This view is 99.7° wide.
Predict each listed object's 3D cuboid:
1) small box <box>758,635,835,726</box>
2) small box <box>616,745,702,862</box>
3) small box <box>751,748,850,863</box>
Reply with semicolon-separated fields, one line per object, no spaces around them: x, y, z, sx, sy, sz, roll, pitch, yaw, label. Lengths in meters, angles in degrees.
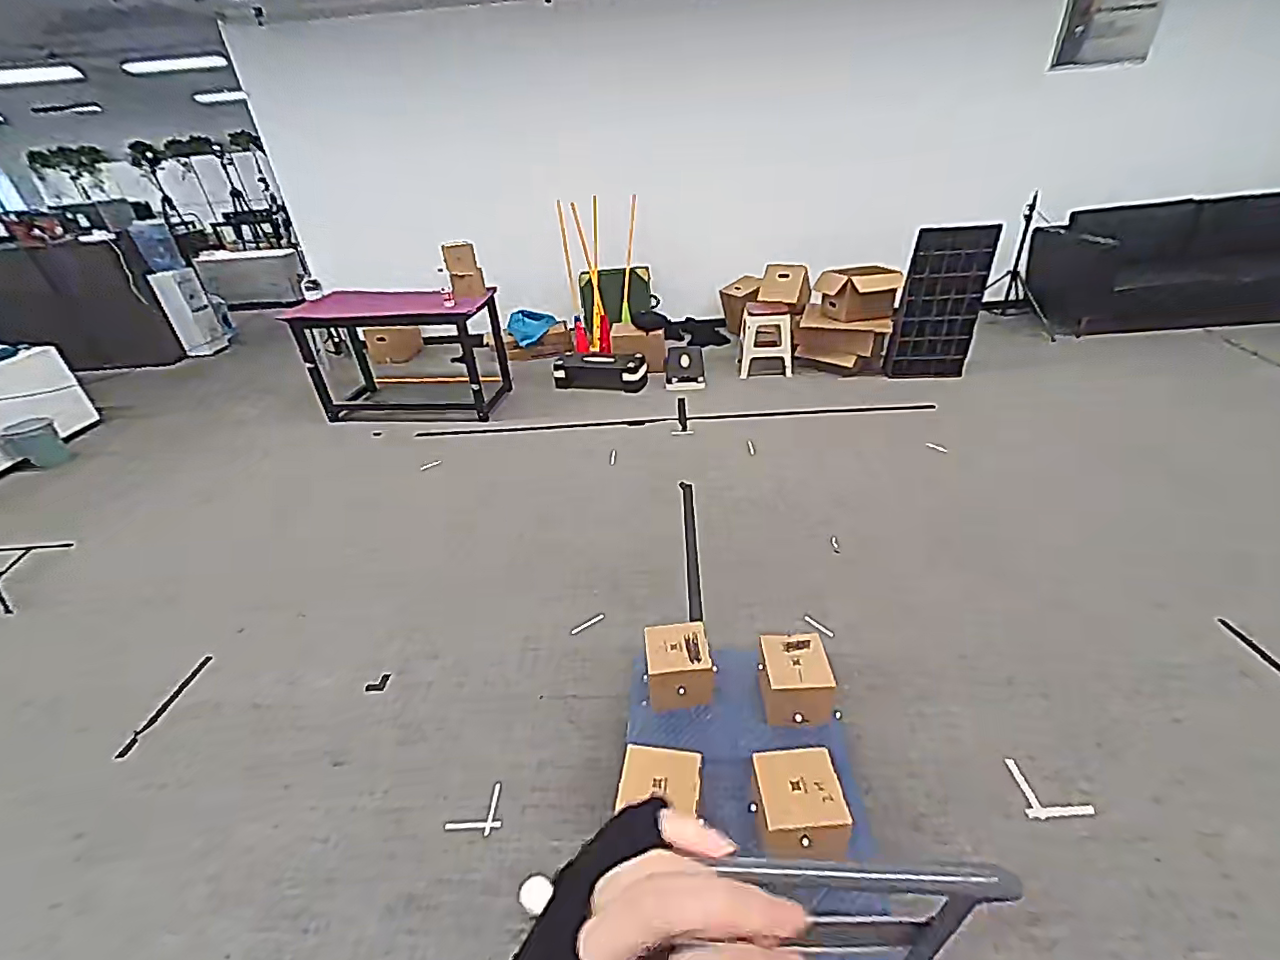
0.425;0.555;1.499;0.168;0.176;0.179;-3;33;3;small box
0.050;0.746;1.247;0.179;0.176;0.168;3;32;9;small box
0.353;0.737;1.222;0.179;0.176;0.168;-5;32;0;small box
